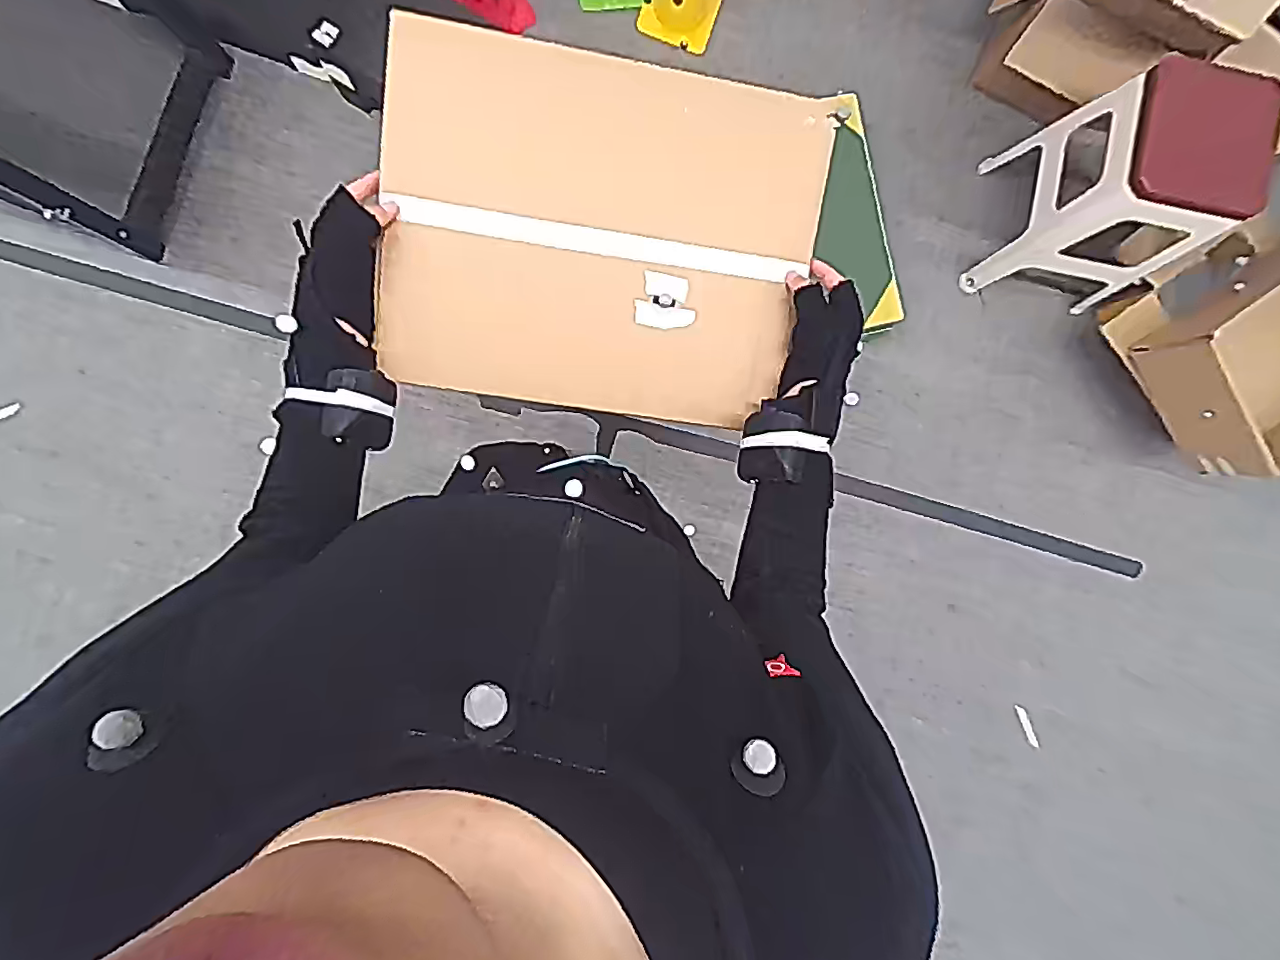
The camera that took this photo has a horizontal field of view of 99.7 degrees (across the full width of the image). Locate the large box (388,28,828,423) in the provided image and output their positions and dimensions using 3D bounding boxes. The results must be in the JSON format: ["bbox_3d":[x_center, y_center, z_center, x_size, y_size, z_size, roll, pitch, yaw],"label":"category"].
[{"bbox_3d":[-0.048,-0.258,0.670,0.408,0.320,0.320,8,101,-7],"label":"large box"}]
